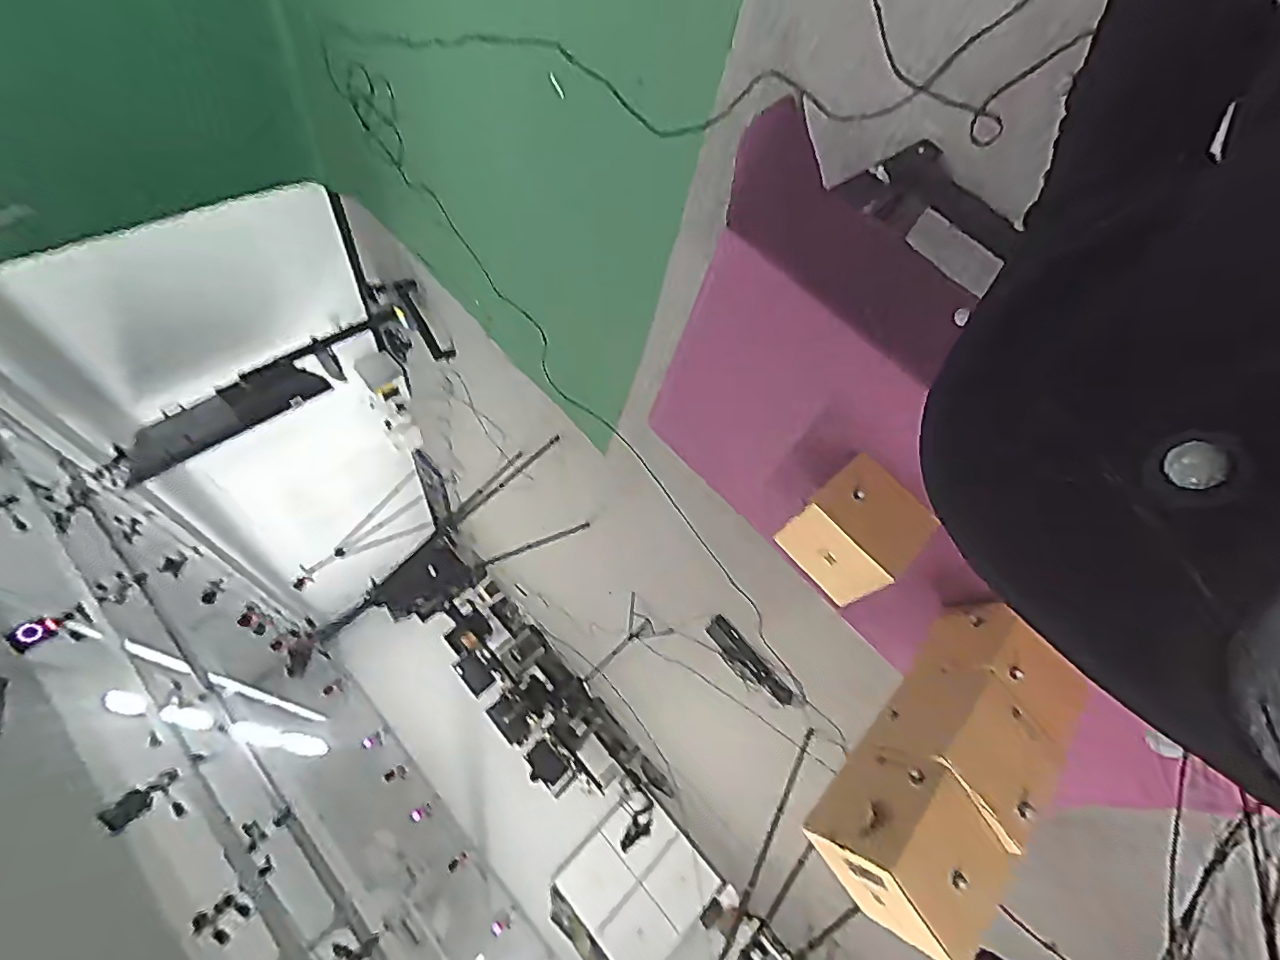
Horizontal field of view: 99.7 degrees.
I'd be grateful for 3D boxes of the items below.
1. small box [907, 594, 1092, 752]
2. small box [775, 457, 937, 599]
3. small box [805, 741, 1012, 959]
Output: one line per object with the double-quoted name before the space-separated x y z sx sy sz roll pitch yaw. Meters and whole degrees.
"small box" 0.608 0.321 0.916 0.179 0.176 0.168 52 152 4
"small box" 0.386 0.080 0.978 0.179 0.176 0.168 47 152 11
"small box" 0.380 0.511 0.772 0.179 0.176 0.168 55 153 -3
